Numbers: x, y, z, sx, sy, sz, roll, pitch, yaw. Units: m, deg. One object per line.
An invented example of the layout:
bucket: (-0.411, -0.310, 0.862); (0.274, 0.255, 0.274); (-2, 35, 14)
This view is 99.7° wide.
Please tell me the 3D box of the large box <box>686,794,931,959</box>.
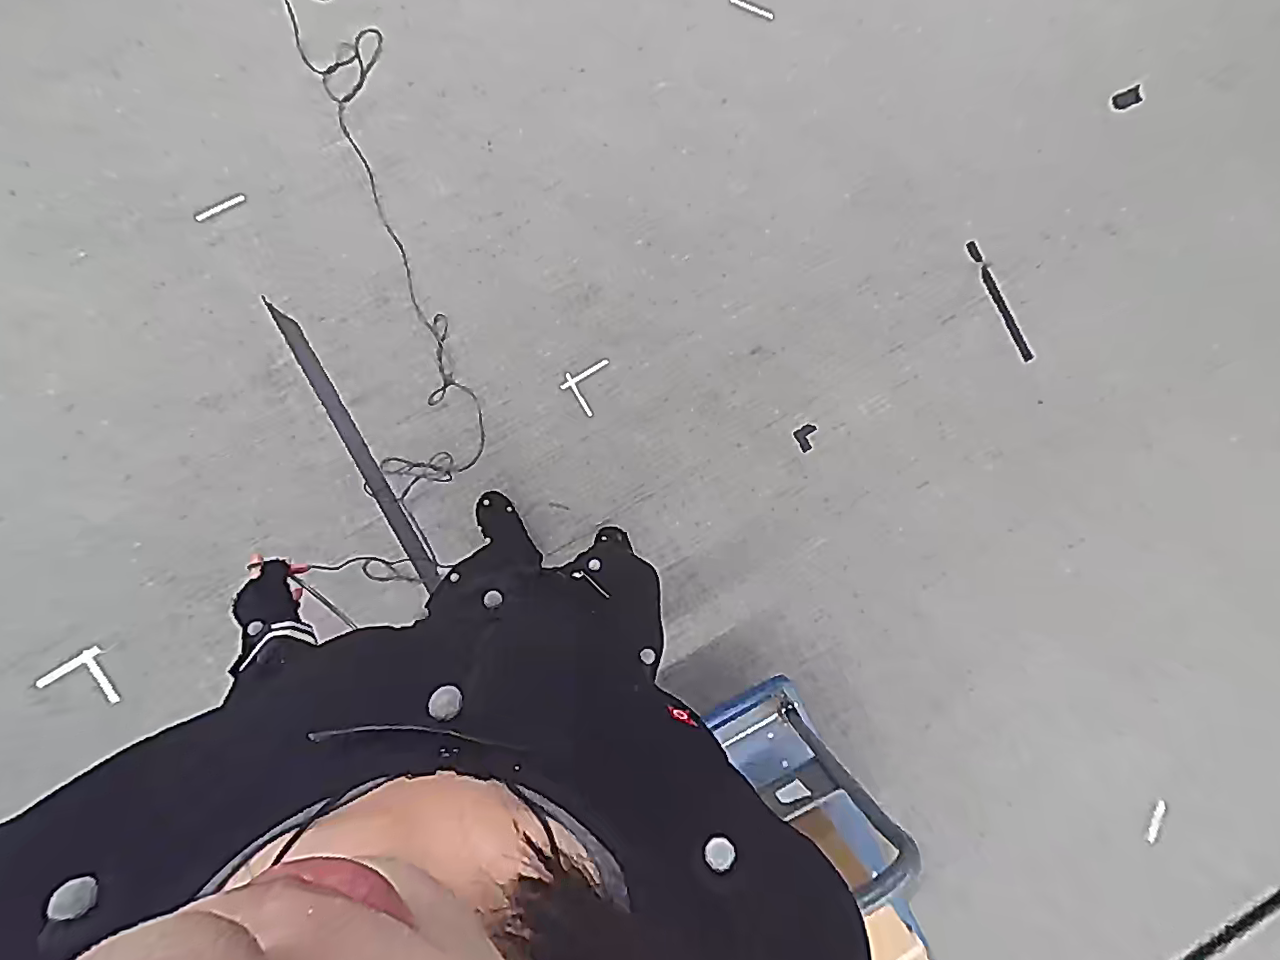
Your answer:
large box: (0.366, 1.017, 1.203); (0.408, 0.320, 0.320); (-35, 90, -3)
